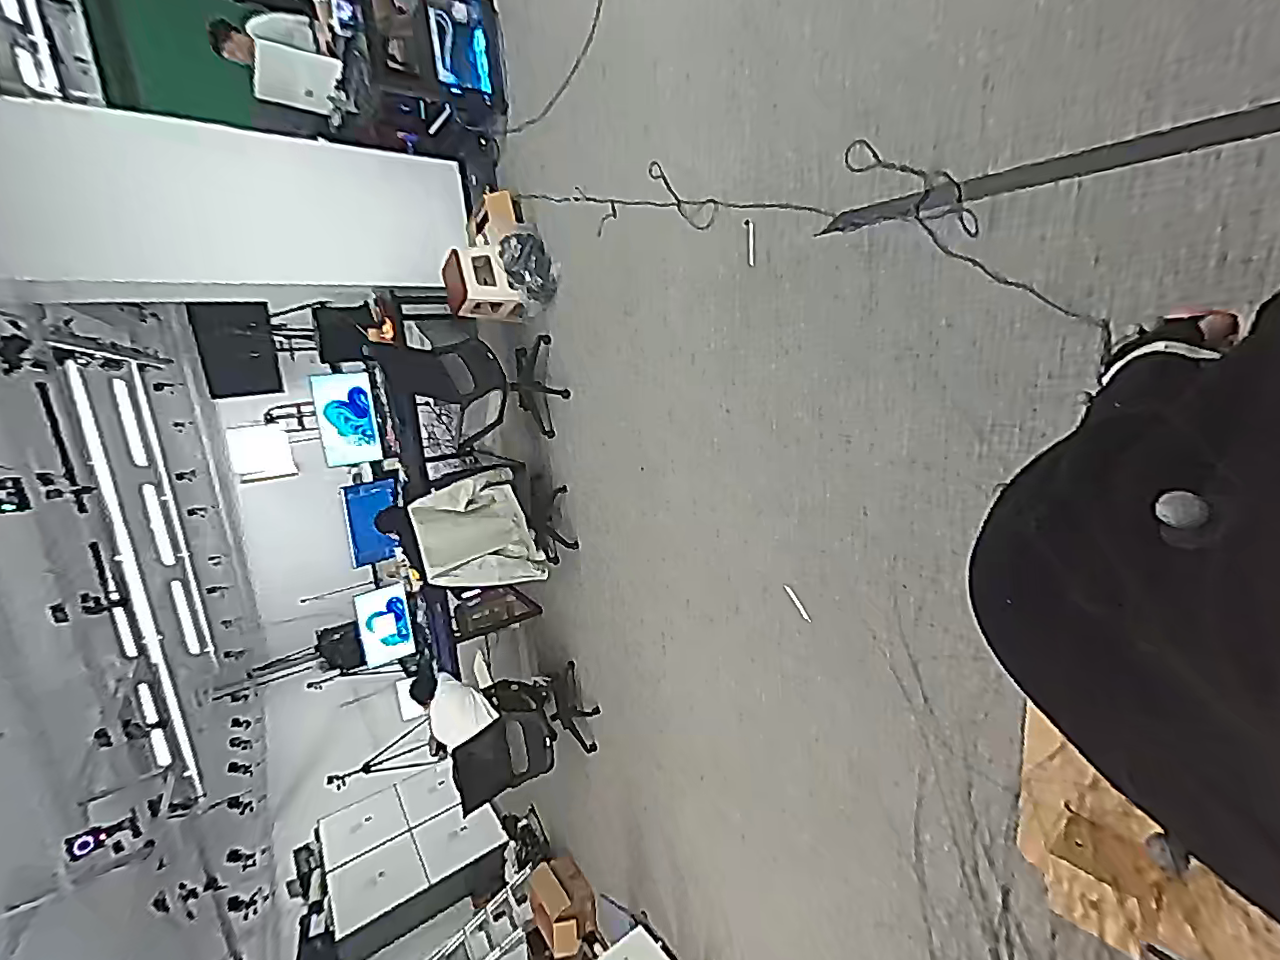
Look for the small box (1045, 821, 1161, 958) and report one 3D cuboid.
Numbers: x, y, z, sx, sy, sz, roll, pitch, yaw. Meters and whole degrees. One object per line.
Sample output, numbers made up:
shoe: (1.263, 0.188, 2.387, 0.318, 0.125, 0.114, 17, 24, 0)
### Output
small box: (1.114, 0.969, 1.304, 0.179, 0.176, 0.168, 5, 106, 54)
